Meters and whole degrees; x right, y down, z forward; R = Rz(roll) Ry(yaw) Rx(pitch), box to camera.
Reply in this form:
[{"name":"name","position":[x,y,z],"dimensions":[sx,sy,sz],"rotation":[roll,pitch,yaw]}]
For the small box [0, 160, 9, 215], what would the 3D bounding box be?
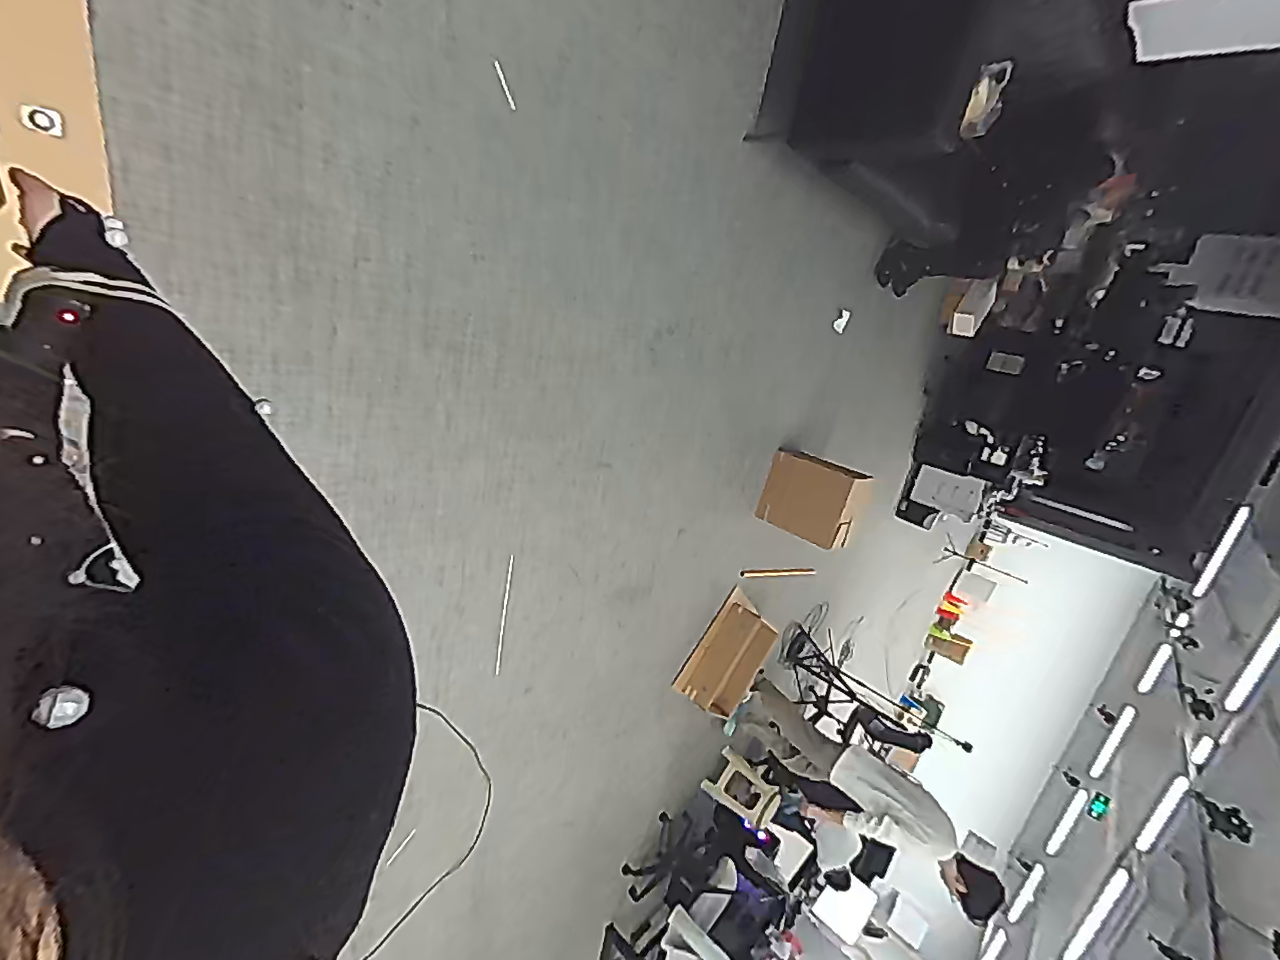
[{"name":"small box","position":[-0.618,-0.303,0.399],"dimensions":[0.168,0.176,0.179],"rotation":[-19,125,-41]}]
